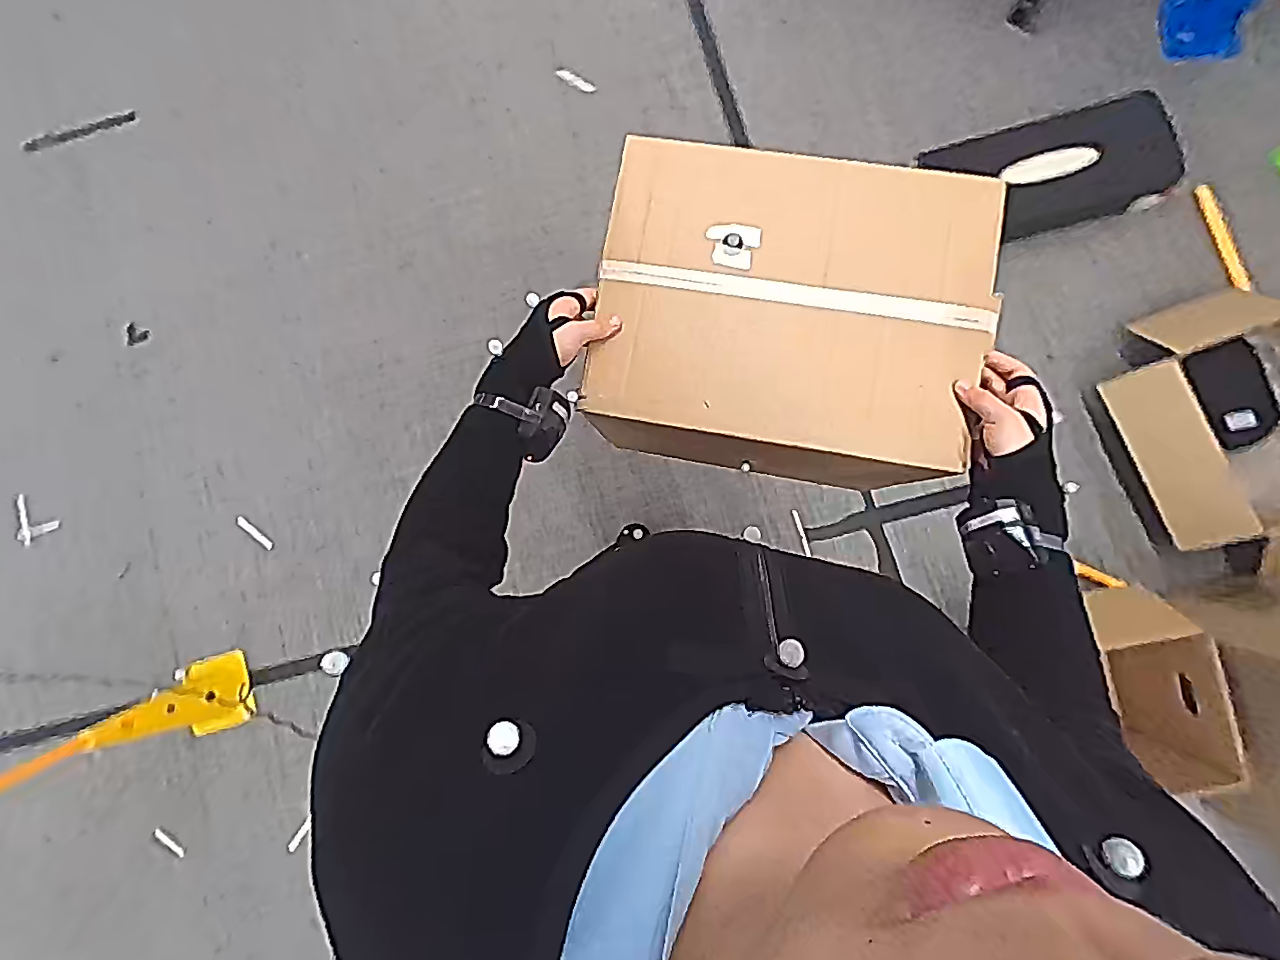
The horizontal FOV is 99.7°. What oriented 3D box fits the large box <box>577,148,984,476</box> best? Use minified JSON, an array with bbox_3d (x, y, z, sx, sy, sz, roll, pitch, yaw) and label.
[{"bbox_3d":[0.163,-0.188,0.728,0.408,0.320,0.320,9,86,6],"label":"large box"}]
